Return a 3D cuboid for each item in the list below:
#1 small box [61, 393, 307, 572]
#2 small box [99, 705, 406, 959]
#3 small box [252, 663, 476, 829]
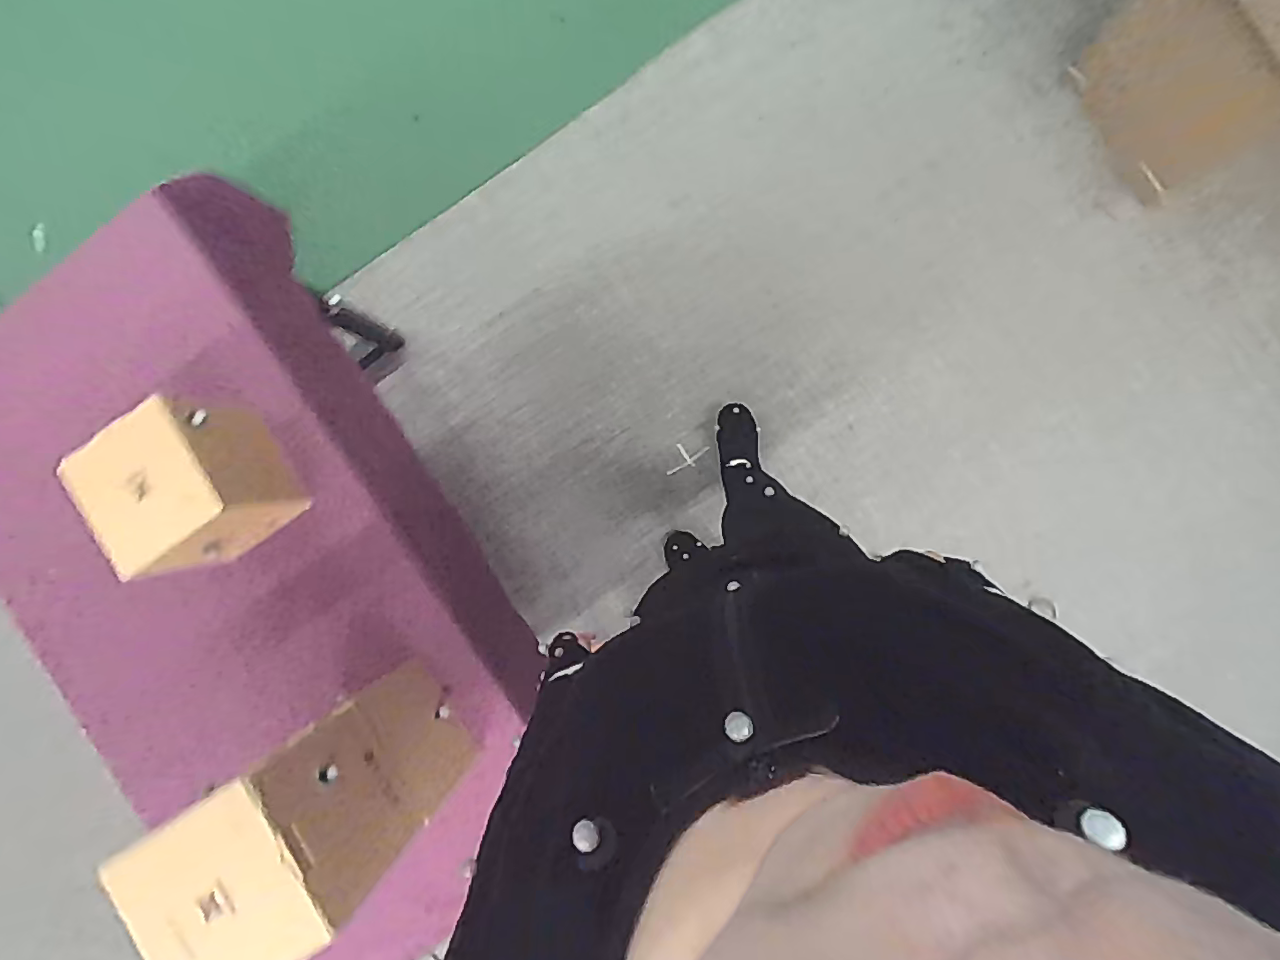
[{"bbox_3d":[-0.619,0.002,0.758,0.168,0.176,0.179,-33,86,5],"label":"small box"},{"bbox_3d":[-0.379,0.373,0.569,0.179,0.176,0.168,-33,87,5],"label":"small box"},{"bbox_3d":[-0.358,0.371,0.732,0.168,0.176,0.179,-34,86,5],"label":"small box"}]
